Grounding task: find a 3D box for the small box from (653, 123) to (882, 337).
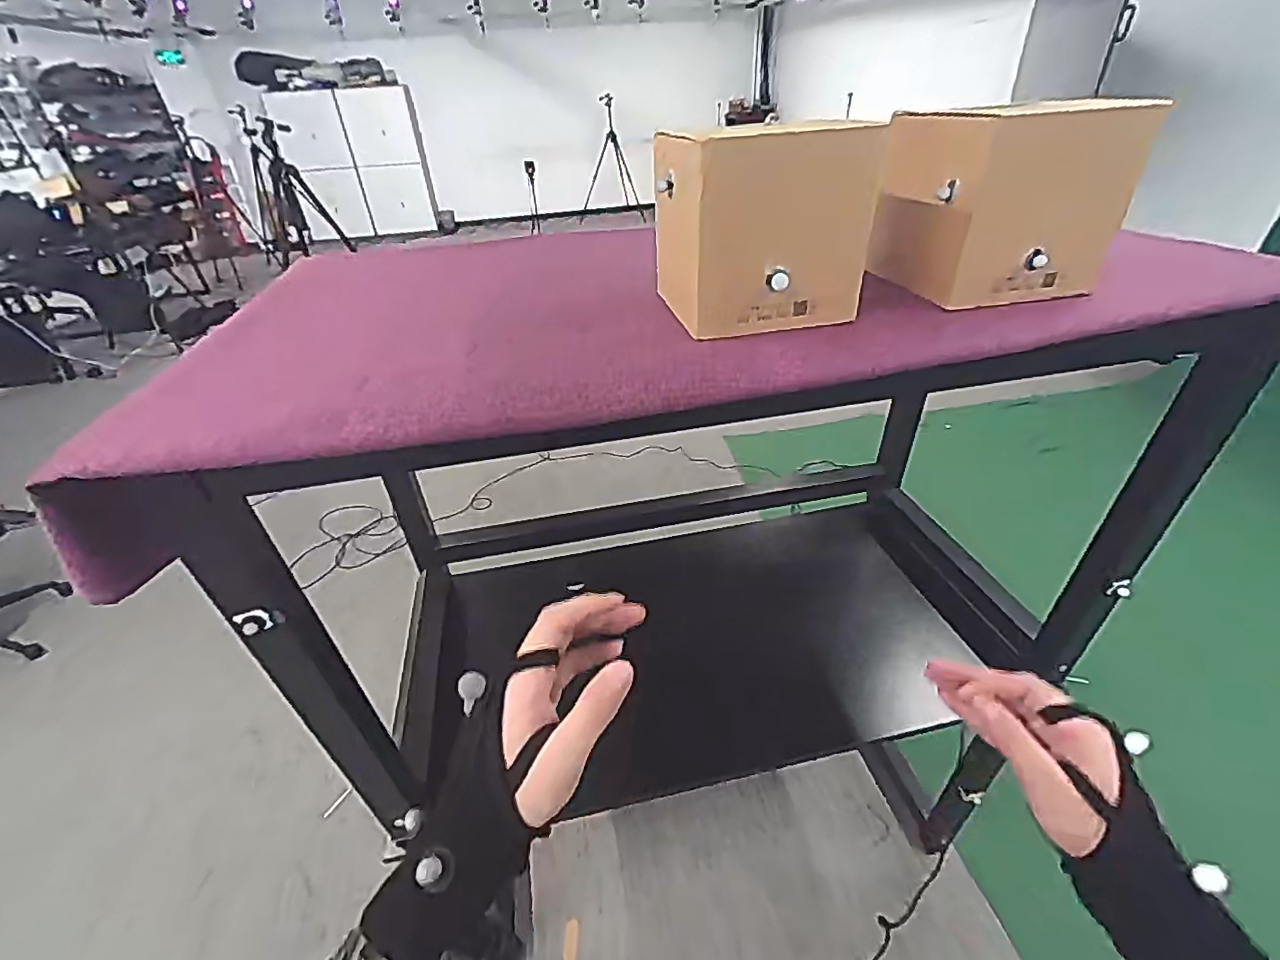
[{"bbox_3d":[0.109,-0.257,0.548,0.168,0.176,0.179,-9,35,-7],"label":"small box"}]
